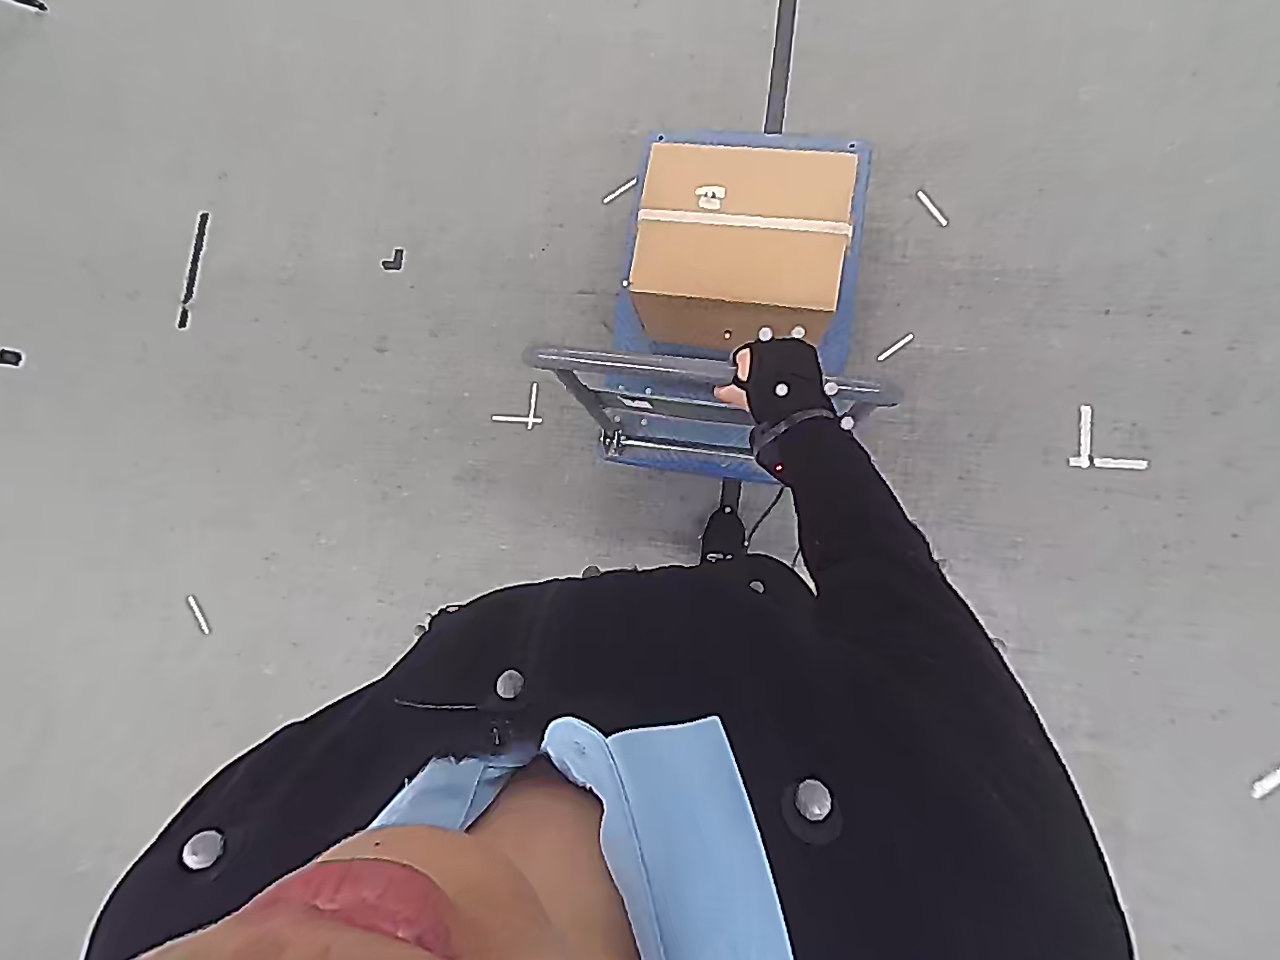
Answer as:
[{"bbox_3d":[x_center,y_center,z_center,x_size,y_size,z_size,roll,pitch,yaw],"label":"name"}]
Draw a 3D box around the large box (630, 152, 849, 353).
[{"bbox_3d":[0.220,-0.491,1.215,0.408,0.320,0.320,8,86,10],"label":"large box"}]
